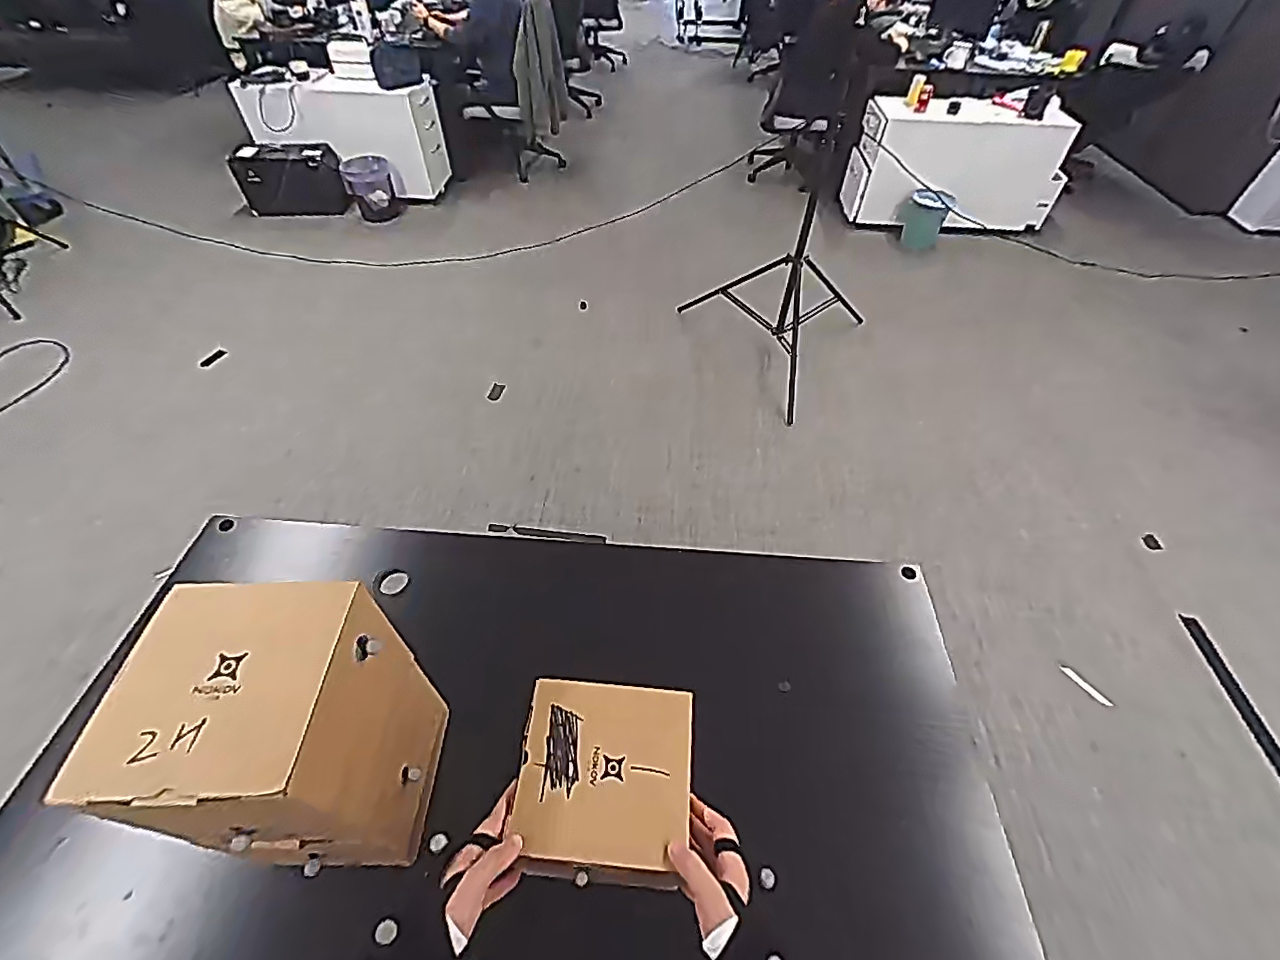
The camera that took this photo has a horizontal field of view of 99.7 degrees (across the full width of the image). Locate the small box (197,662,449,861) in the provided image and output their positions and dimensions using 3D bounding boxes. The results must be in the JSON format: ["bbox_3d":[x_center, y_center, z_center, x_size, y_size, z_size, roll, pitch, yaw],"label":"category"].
[{"bbox_3d":[-0.336,0.326,0.621,0.168,0.176,0.179,0,49,0],"label":"small box"}]

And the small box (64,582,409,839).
[{"bbox_3d":[-0.333,0.213,0.500,0.168,0.176,0.179,-1,49,-2],"label":"small box"}]

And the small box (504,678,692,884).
[{"bbox_3d":[-0.036,0.342,0.612,0.179,0.176,0.168,4,49,2],"label":"small box"}]
